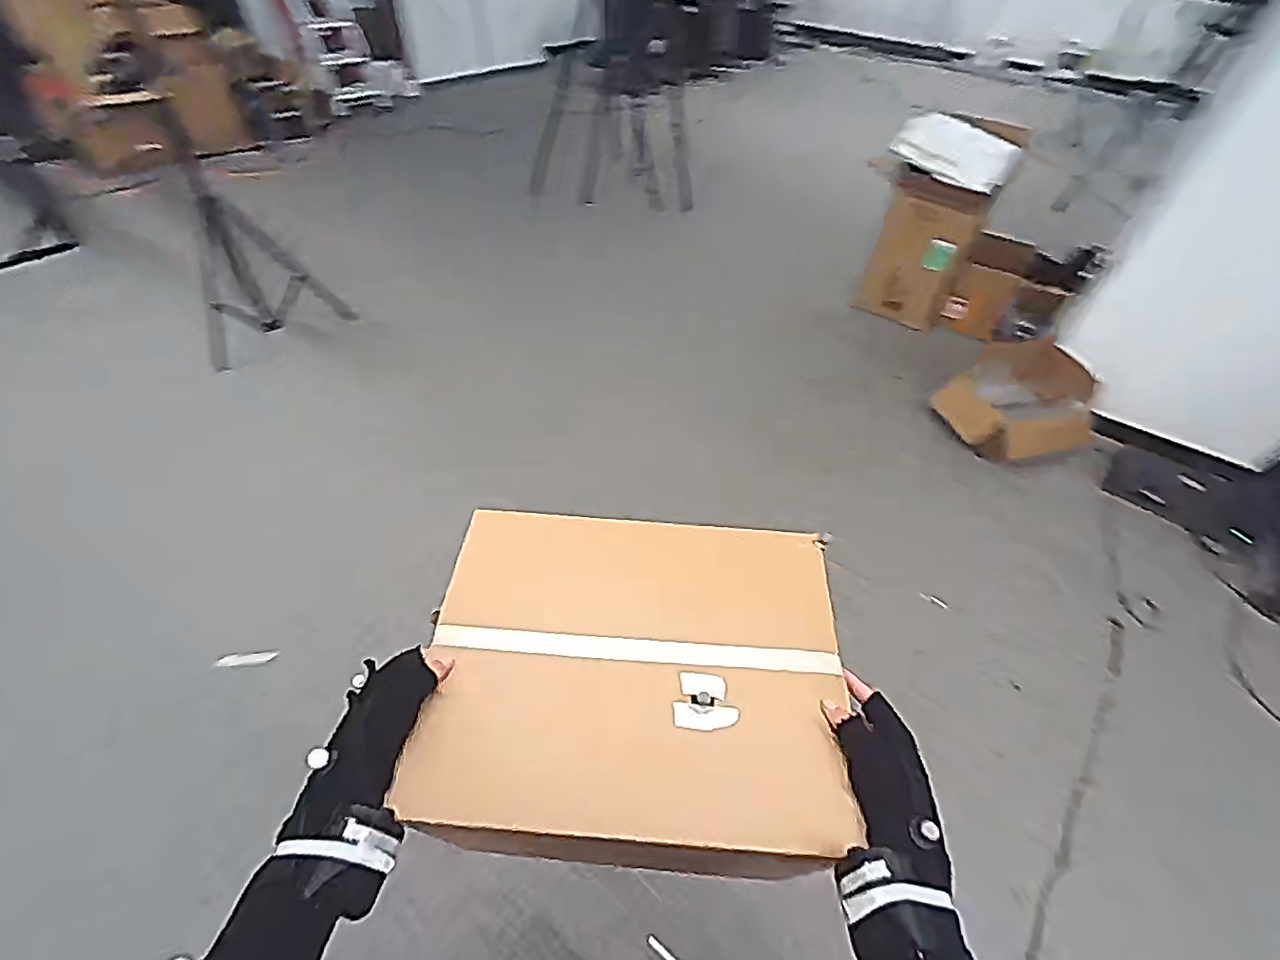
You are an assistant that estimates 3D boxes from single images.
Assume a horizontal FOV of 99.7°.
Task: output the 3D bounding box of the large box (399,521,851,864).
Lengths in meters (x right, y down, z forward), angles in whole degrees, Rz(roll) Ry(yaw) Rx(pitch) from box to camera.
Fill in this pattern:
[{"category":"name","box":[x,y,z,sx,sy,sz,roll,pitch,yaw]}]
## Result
[{"category":"large box","box":[-0.014,0.272,0.674,0.408,0.320,0.320,4,52,0]}]
